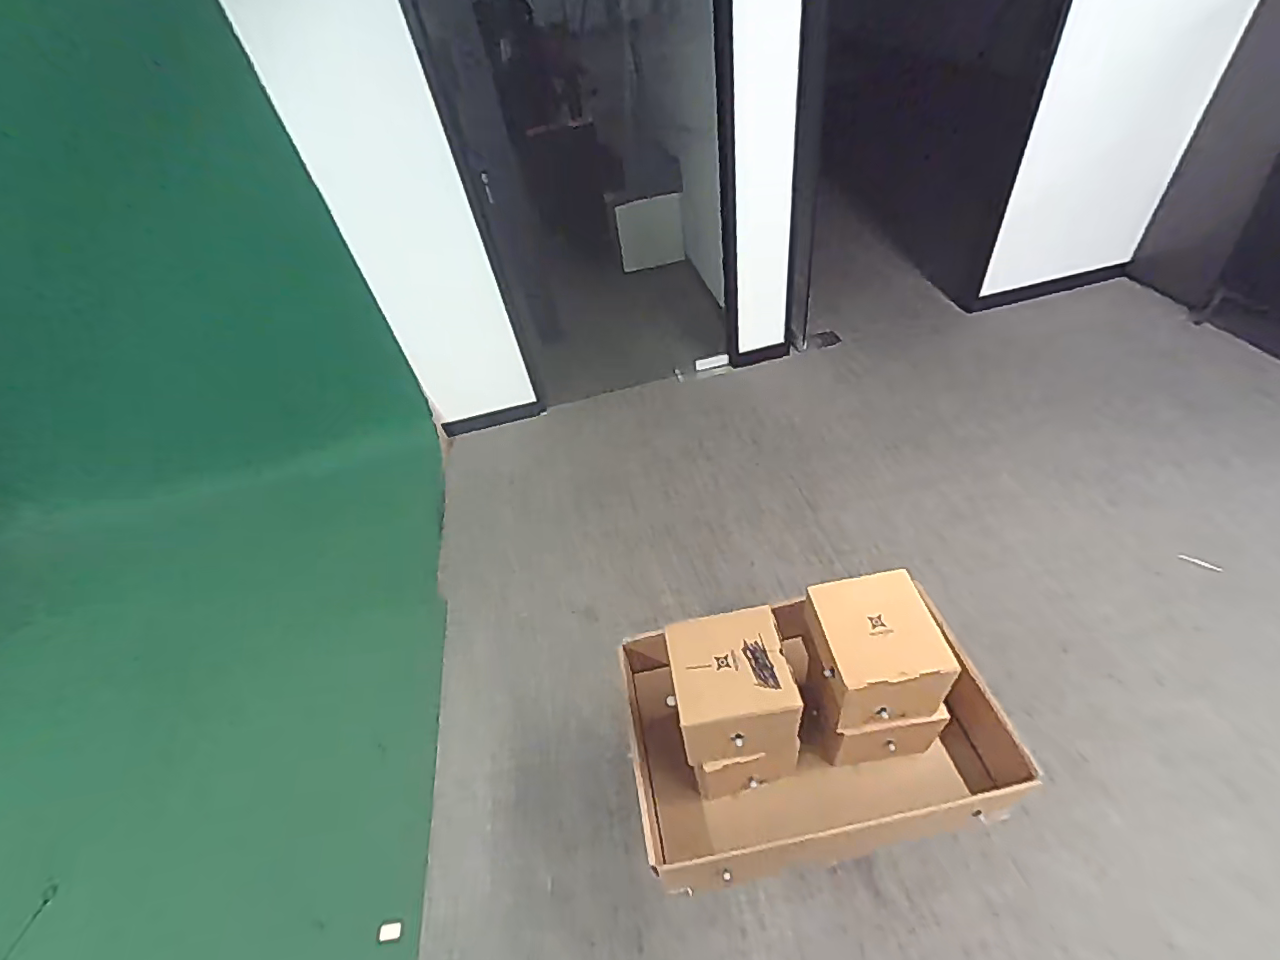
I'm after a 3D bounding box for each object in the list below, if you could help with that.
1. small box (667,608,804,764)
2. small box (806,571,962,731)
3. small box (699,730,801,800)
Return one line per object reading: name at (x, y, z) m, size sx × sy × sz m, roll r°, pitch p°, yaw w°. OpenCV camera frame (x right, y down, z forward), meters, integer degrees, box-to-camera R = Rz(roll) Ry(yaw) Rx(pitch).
small box at (0.146, 0.330, 0.864) m, size 0.179 × 0.176 × 0.168 m, roll -11°, pitch 44°, yaw 1°
small box at (0.376, 0.277, 0.875) m, size 0.168 × 0.176 × 0.179 m, roll -11°, pitch 44°, yaw 2°
small box at (0.174, 0.444, 0.979) m, size 0.168 × 0.176 × 0.179 m, roll -15°, pitch 45°, yaw -4°
